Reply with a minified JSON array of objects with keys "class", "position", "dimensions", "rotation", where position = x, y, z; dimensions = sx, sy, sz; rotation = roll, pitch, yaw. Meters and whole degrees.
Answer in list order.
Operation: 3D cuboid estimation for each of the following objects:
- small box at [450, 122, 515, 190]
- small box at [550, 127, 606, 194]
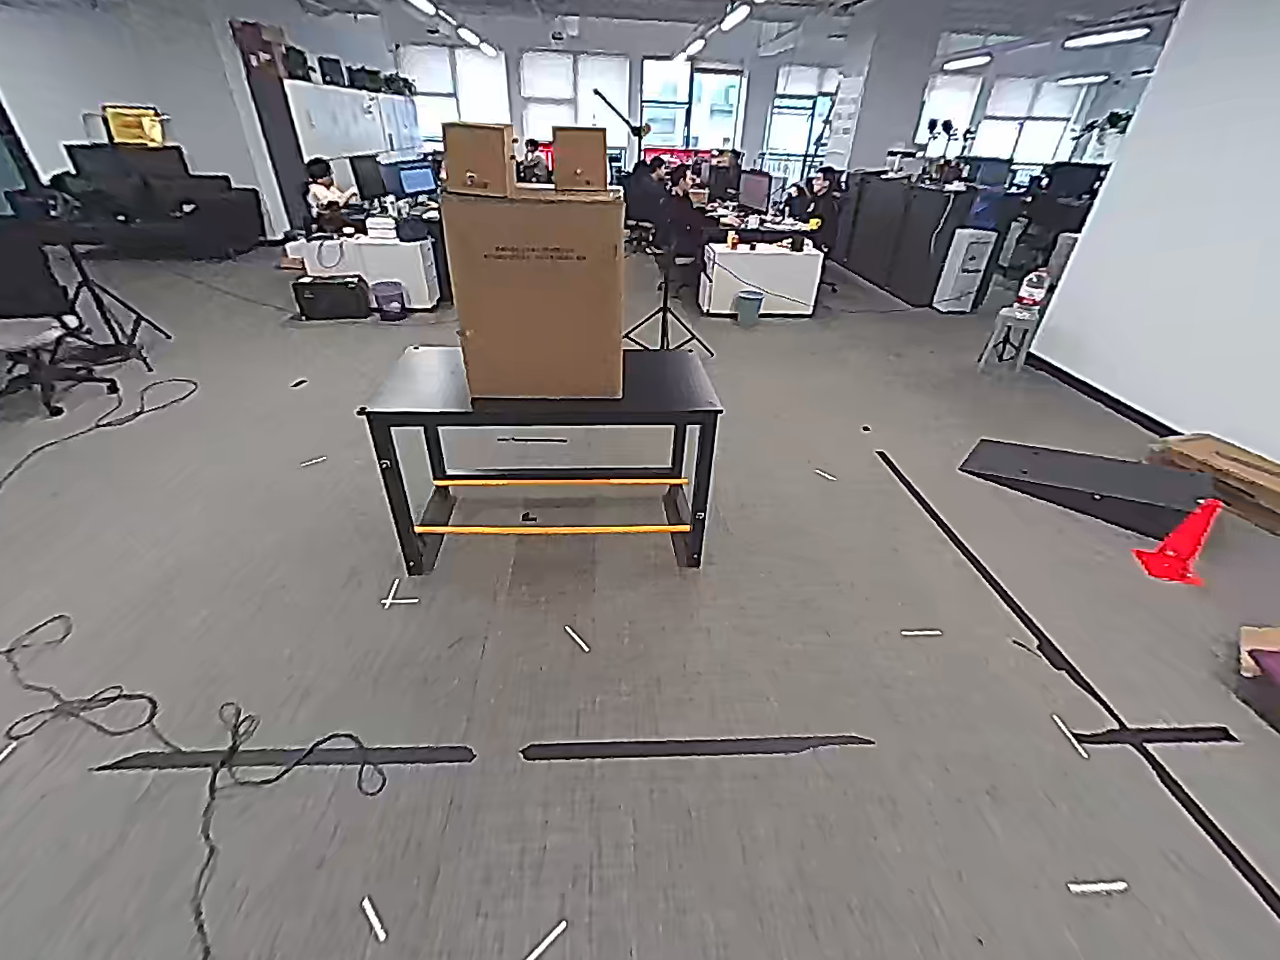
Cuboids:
[{"class":"small box","position":[-0.488,-1.017,1.701],"dimensions":[0.168,0.176,0.179],"rotation":[-1,31,-6]},{"class":"small box","position":[-0.194,-1.003,1.698],"dimensions":[0.168,0.176,0.179],"rotation":[-3,32,-6]}]
